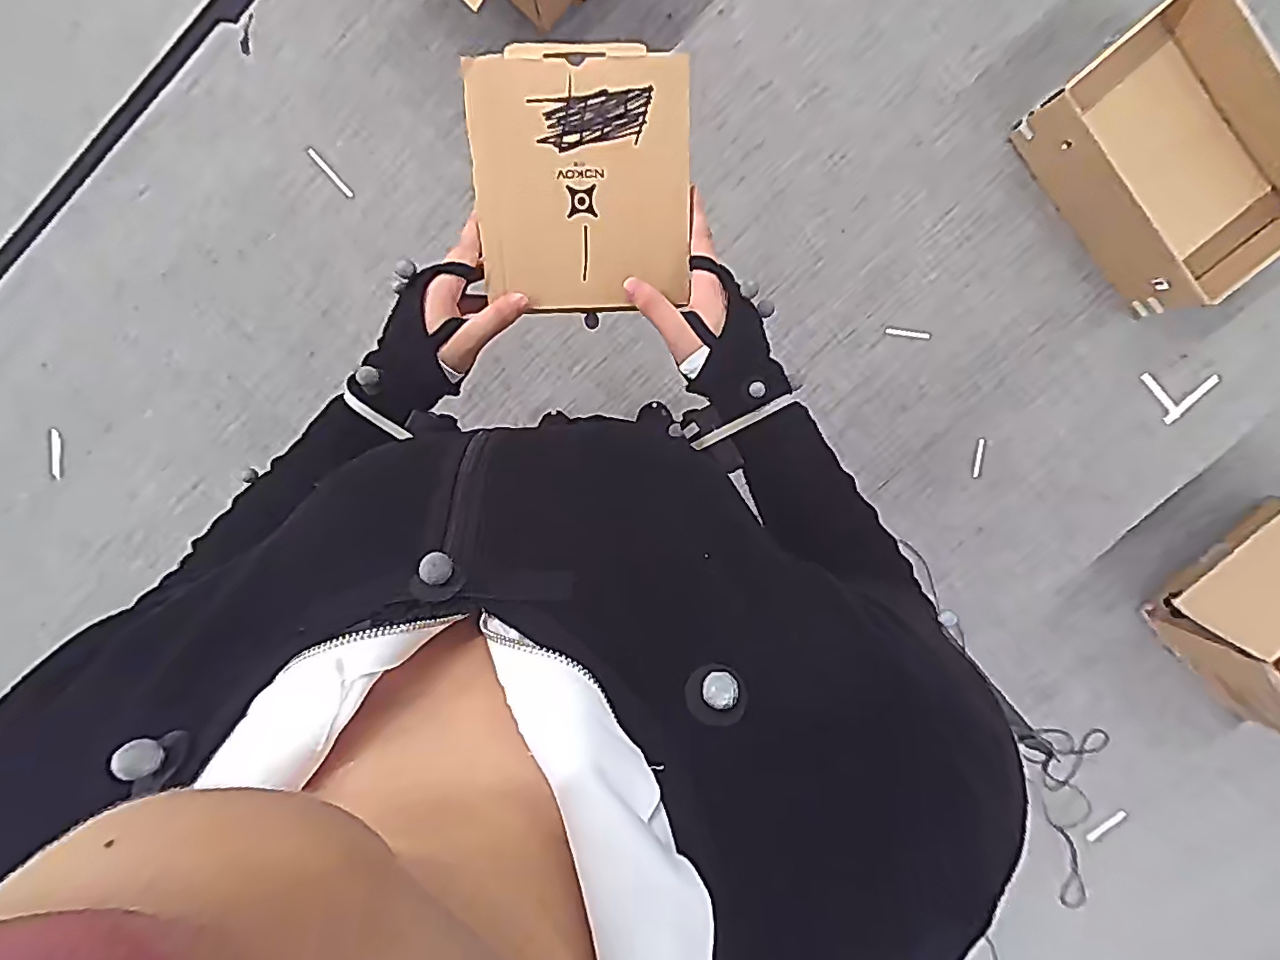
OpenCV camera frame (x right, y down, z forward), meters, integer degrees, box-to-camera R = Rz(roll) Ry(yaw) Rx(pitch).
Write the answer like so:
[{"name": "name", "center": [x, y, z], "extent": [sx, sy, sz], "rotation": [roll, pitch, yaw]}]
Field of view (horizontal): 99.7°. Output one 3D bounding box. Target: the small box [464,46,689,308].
[{"name": "small box", "center": [-0.047, -0.250, 0.488], "extent": [0.168, 0.176, 0.179], "rotation": [-1, 107, -1]}]
